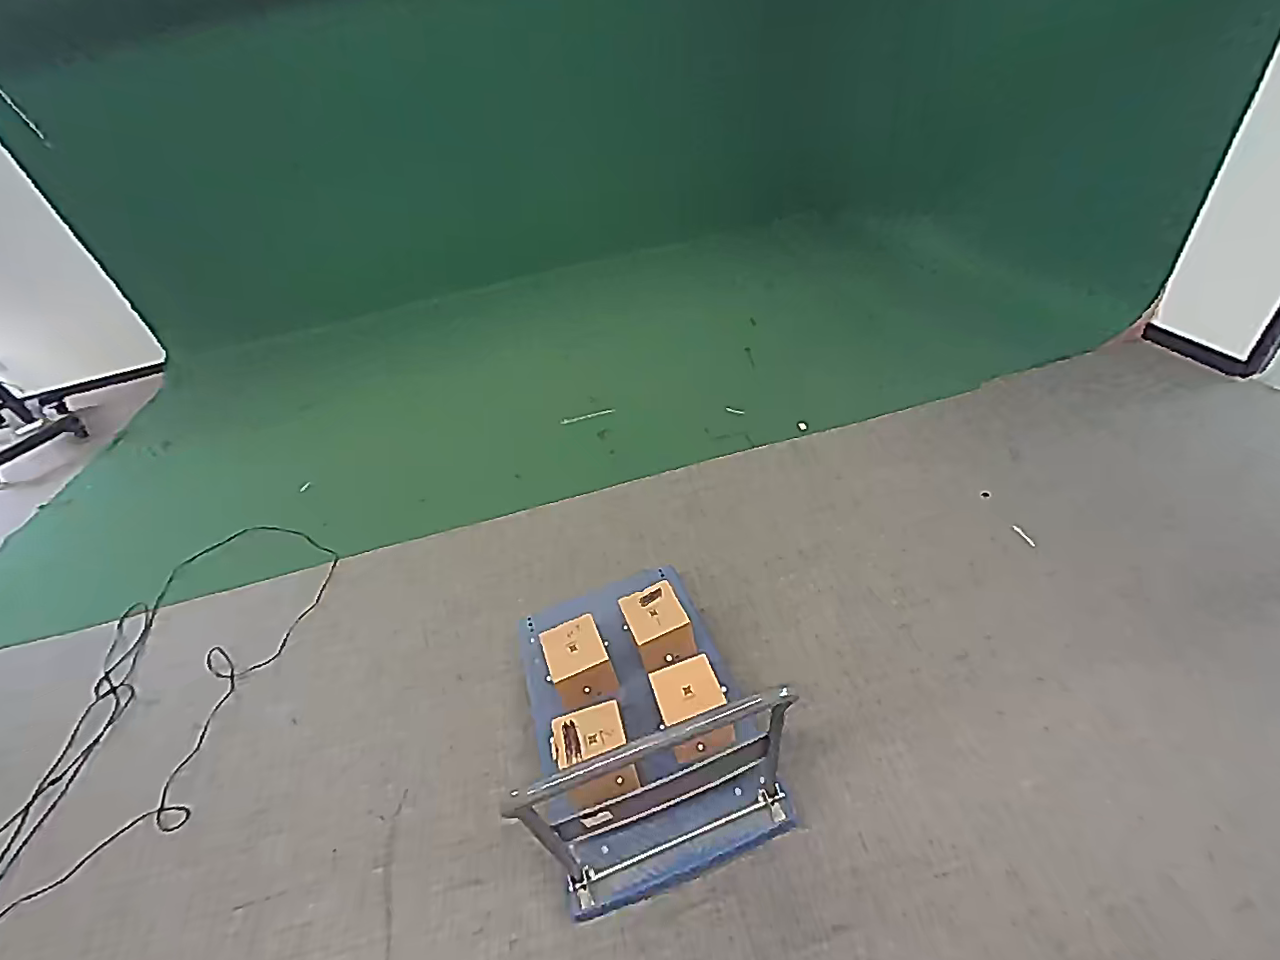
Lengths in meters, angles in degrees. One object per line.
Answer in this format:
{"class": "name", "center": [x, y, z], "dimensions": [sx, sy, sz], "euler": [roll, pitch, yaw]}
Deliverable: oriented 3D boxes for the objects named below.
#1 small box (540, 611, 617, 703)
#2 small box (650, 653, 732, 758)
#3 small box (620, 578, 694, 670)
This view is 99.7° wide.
{"class": "small box", "center": [-0.178, 0.528, 1.590], "dimensions": [0.168, 0.176, 0.179], "euler": [-20, 41, -11]}
{"class": "small box", "center": [0.136, 0.599, 1.437], "dimensions": [0.168, 0.176, 0.179], "euler": [-18, 42, -7]}
{"class": "small box", "center": [0.052, 0.437, 1.637], "dimensions": [0.168, 0.176, 0.179], "euler": [-22, 43, -10]}
